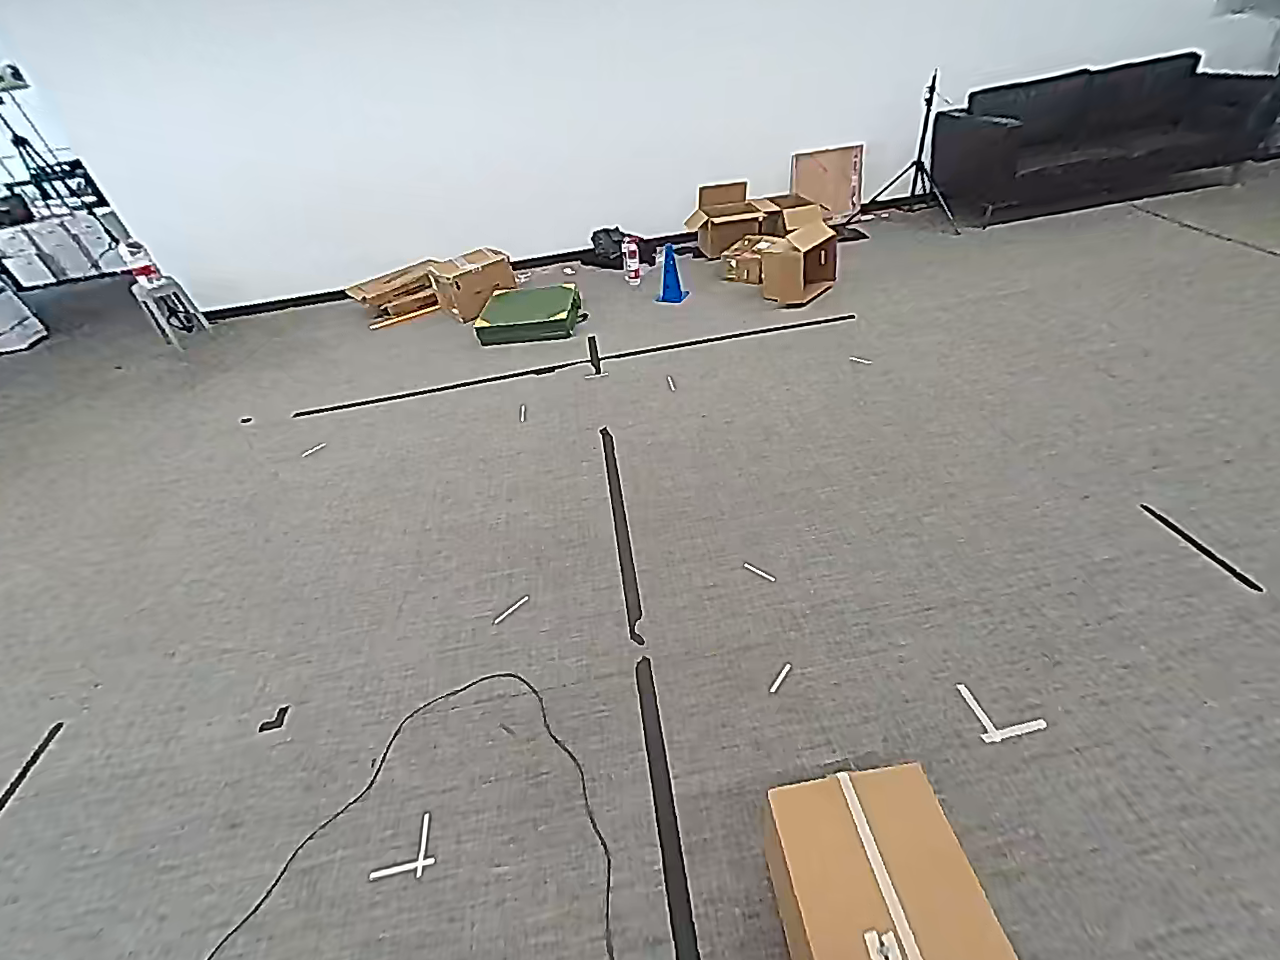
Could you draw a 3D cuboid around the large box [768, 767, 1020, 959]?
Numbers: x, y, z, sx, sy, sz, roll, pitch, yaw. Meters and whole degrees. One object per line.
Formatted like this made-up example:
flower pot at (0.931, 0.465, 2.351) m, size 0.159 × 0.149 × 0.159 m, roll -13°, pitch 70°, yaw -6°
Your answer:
large box at (0.453, 0.832, 1.018) m, size 0.320 × 0.320 × 0.408 m, roll -10°, pitch 40°, yaw 0°
